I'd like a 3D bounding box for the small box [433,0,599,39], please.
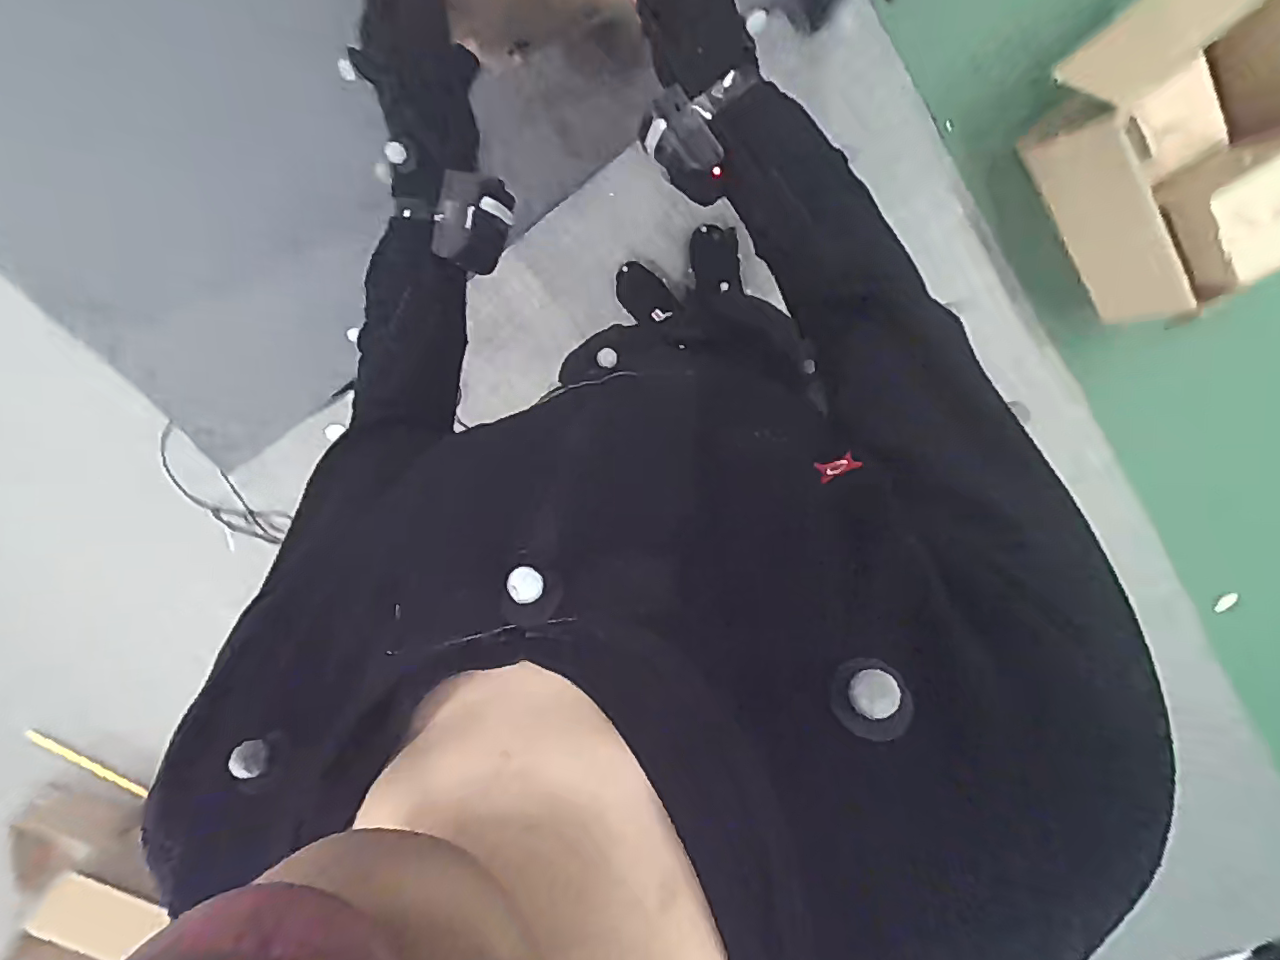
[{"bbox_3d":[-0.093,-0.453,0.378,0.168,0.176,0.179,-16,111,11],"label":"small box"}]
